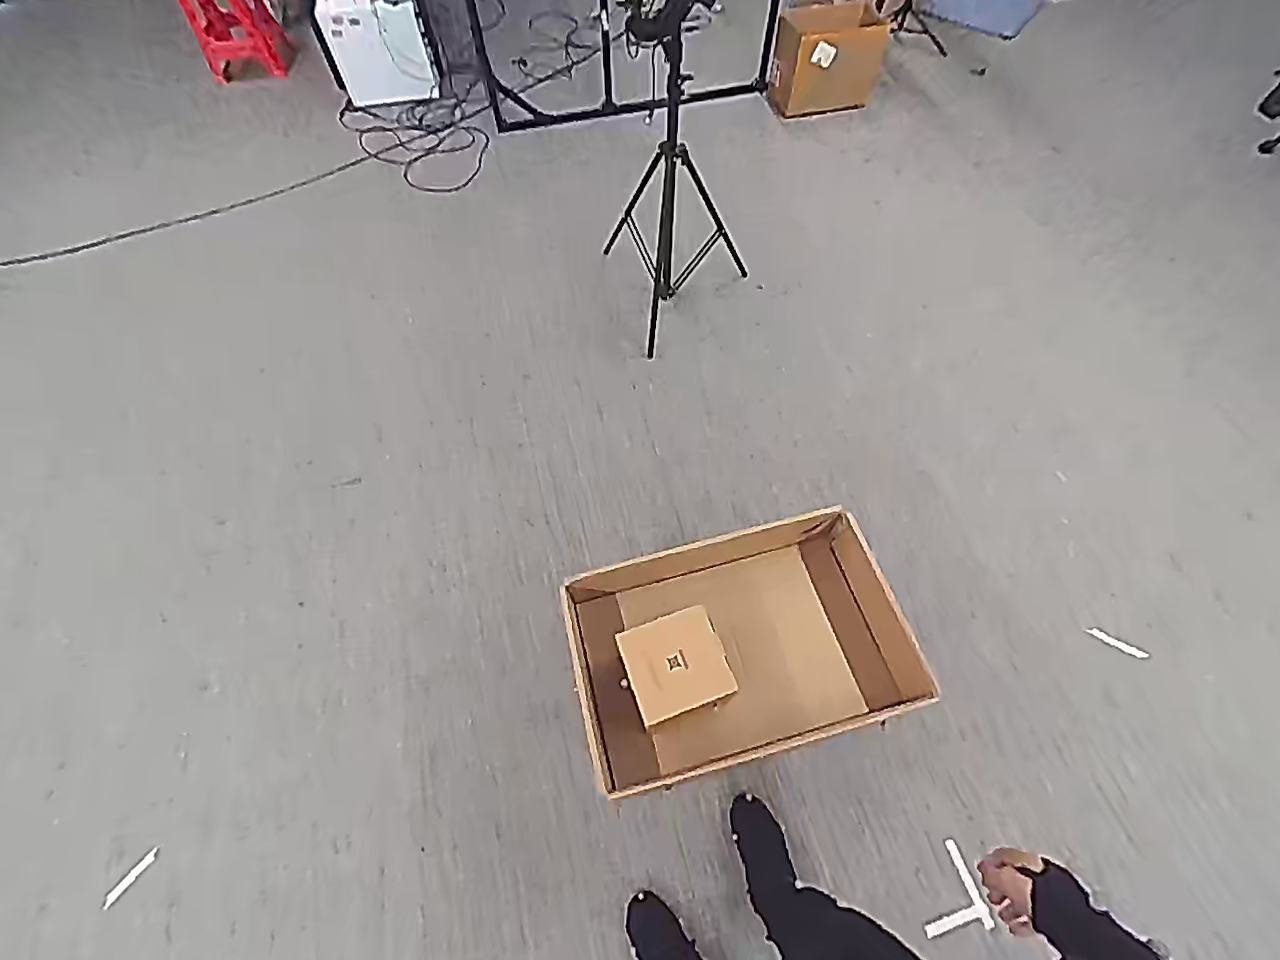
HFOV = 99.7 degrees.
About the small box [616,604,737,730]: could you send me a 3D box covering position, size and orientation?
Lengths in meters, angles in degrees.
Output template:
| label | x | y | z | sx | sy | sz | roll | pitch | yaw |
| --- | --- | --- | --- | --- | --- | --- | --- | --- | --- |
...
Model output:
| label | x | y | z | sx | sy | sz | roll | pitch | yaw |
| --- | --- | --- | --- | --- | --- | --- | --- | --- | --- |
| small box | 0.063 | 0.358 | 1.027 | 0.179 | 0.176 | 0.168 | -18 | 62 | -8 |
